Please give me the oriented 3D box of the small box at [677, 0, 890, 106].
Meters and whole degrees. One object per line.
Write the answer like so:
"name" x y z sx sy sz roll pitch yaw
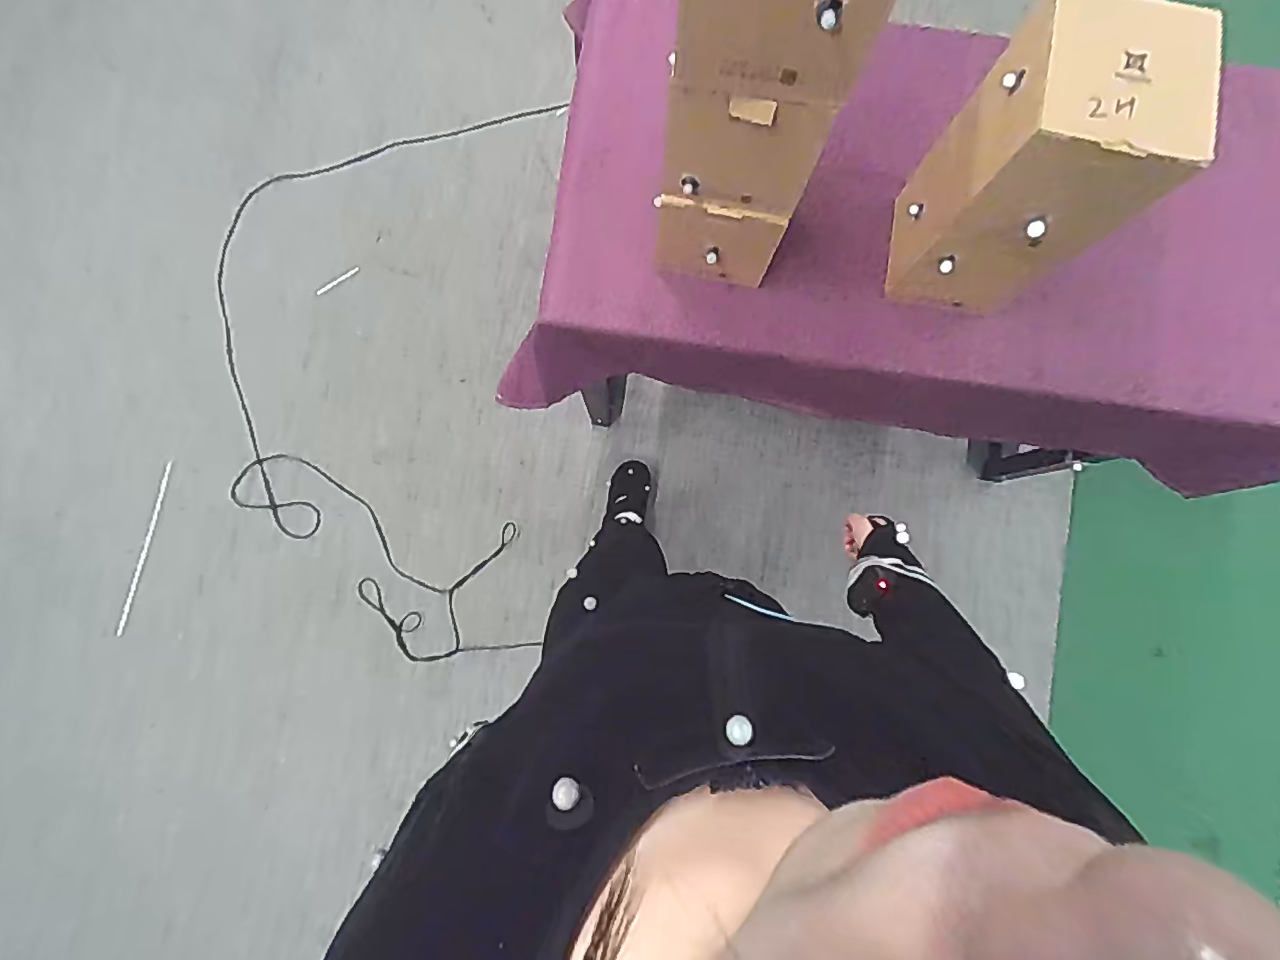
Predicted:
"small box" 0.127 -0.454 0.441 0.168 0.176 0.179 10 82 -1

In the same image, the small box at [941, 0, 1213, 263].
"small box" 0.468 -0.379 0.605 0.168 0.176 0.179 13 83 1

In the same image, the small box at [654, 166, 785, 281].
"small box" 0.115 -0.409 0.766 0.168 0.176 0.179 11 83 -1

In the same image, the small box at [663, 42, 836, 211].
"small box" 0.123 -0.437 0.603 0.168 0.176 0.179 12 82 0
